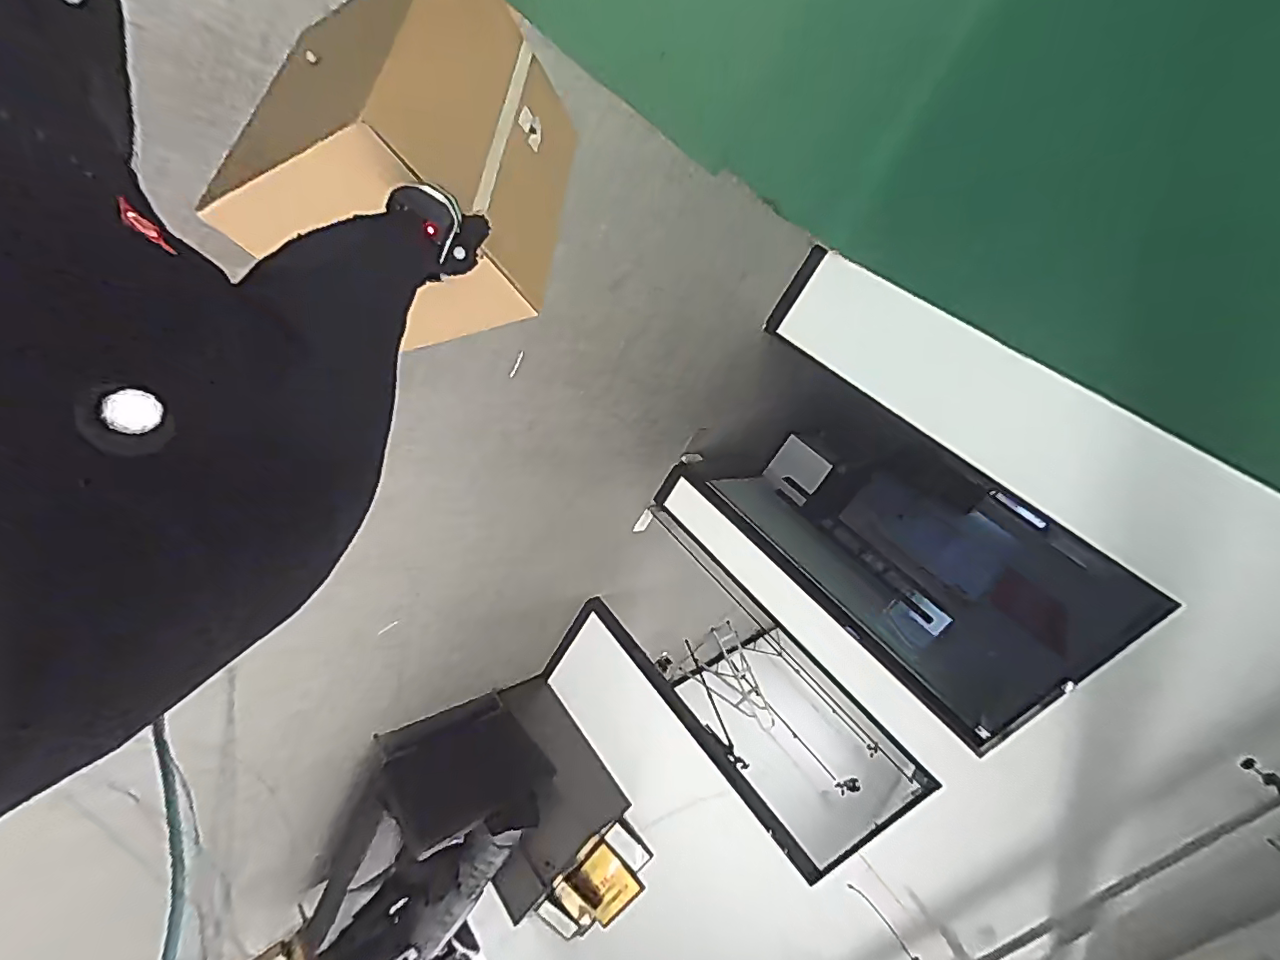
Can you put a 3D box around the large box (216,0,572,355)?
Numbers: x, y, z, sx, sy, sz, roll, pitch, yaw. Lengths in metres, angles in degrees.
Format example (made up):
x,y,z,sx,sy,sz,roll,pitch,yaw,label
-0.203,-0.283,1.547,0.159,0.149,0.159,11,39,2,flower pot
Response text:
x,y,z,sx,sy,sz,roll,pitch,yaw,label
-0.335,-0.464,0.819,0.320,0.408,0.320,-7,154,25,large box
